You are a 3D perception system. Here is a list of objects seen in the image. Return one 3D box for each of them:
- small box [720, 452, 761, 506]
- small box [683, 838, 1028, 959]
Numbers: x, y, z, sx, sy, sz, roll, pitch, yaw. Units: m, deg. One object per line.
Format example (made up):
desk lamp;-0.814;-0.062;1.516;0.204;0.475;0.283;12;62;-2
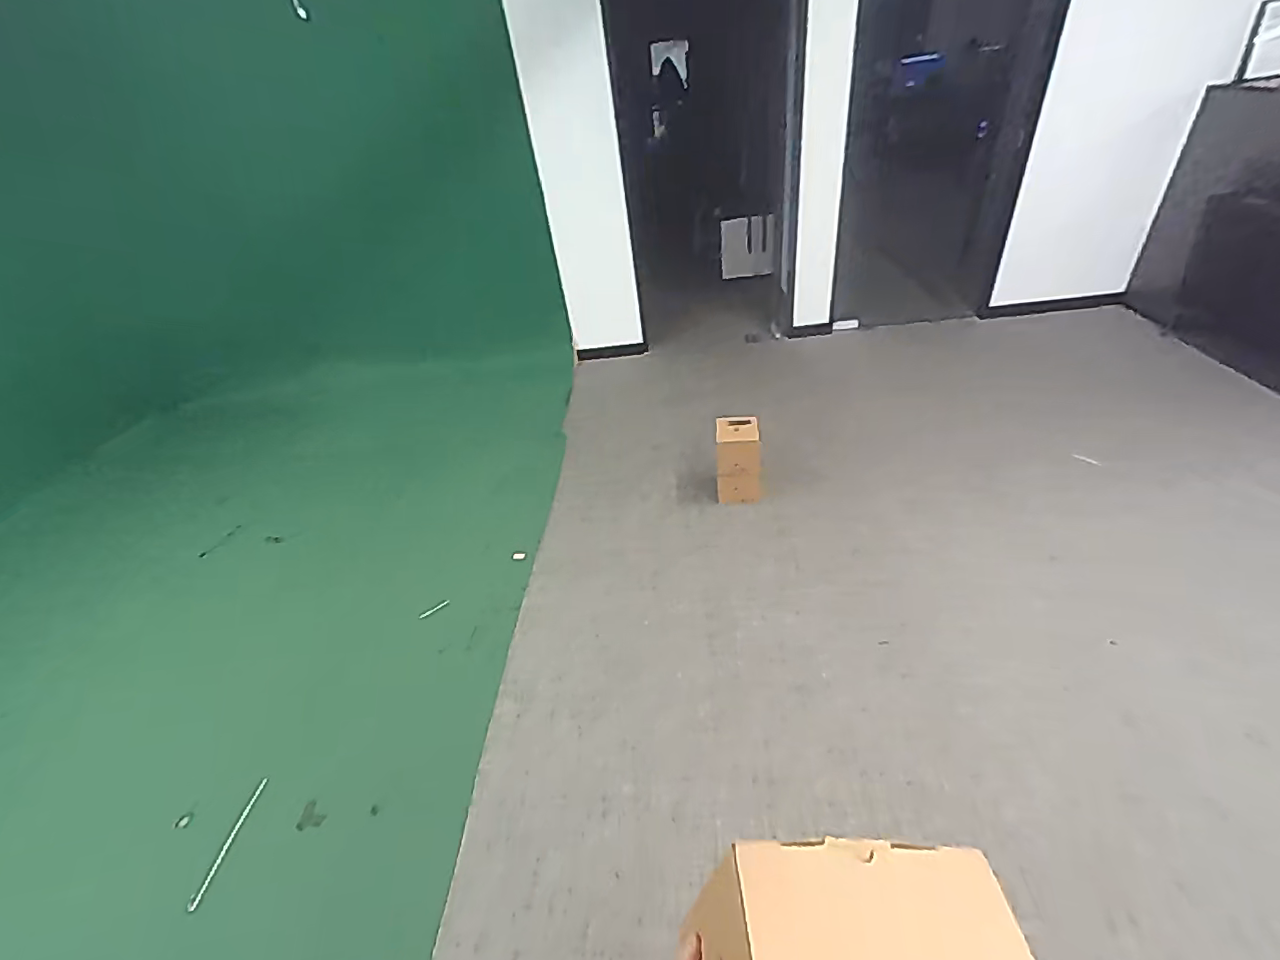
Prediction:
small box;0.433;-0.002;2.319;0.168;0.176;0.179;0;38;12
small box;0.125;0.344;0.319;0.168;0.176;0.179;6;36;-6
